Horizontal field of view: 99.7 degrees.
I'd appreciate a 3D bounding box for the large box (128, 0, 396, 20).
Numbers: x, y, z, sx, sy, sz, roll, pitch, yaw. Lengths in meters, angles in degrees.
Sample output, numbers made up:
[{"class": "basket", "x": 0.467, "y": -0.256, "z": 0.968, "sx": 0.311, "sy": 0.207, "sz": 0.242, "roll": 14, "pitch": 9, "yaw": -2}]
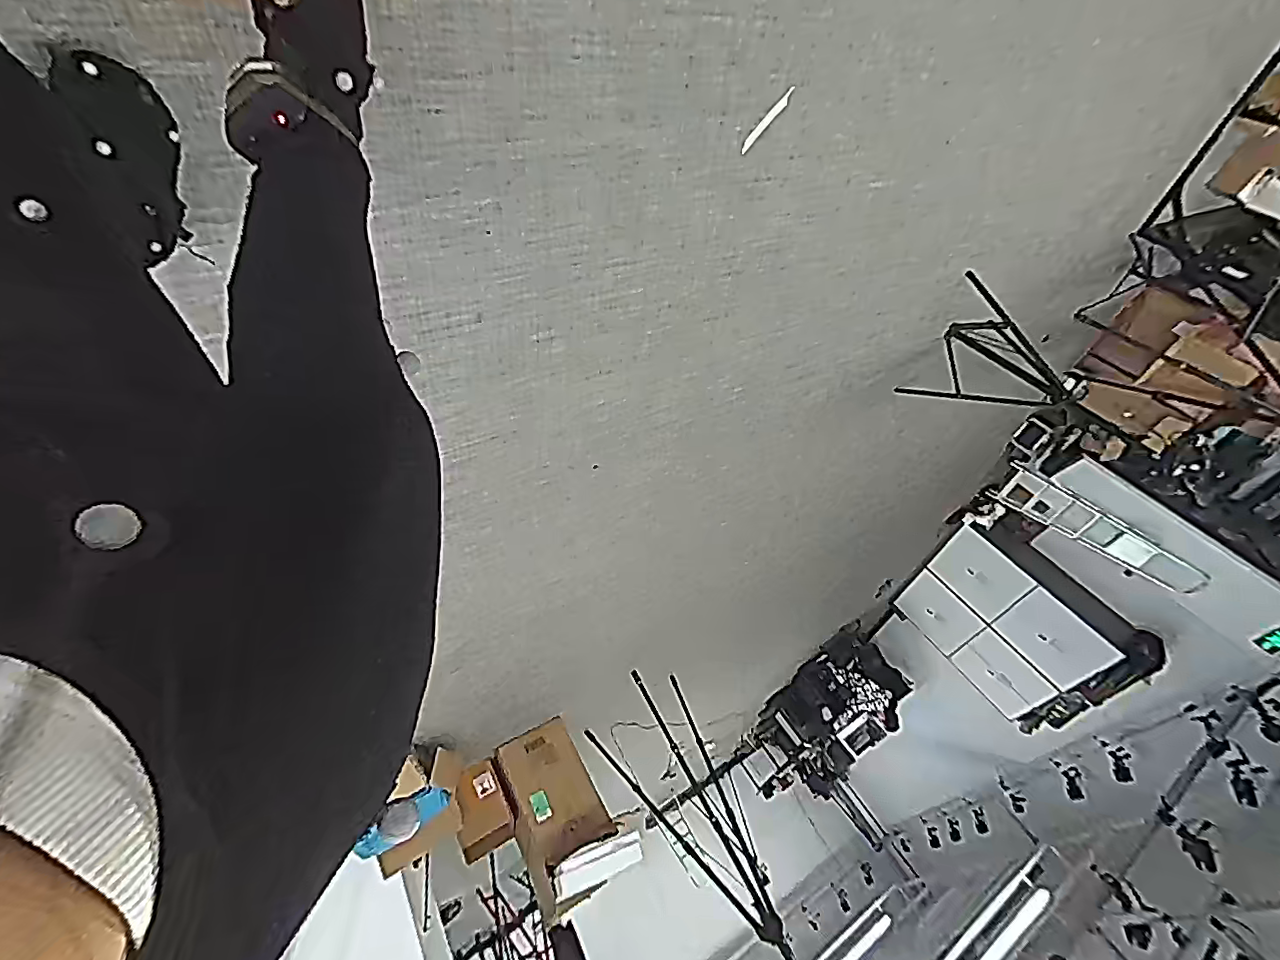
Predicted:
[{"class": "large box", "x": -0.367, "y": -0.658, "z": 0.445, "sx": 0.320, "sy": 0.320, "sz": 0.408, "roll": -24, "pitch": 135, "yaw": -20}]
